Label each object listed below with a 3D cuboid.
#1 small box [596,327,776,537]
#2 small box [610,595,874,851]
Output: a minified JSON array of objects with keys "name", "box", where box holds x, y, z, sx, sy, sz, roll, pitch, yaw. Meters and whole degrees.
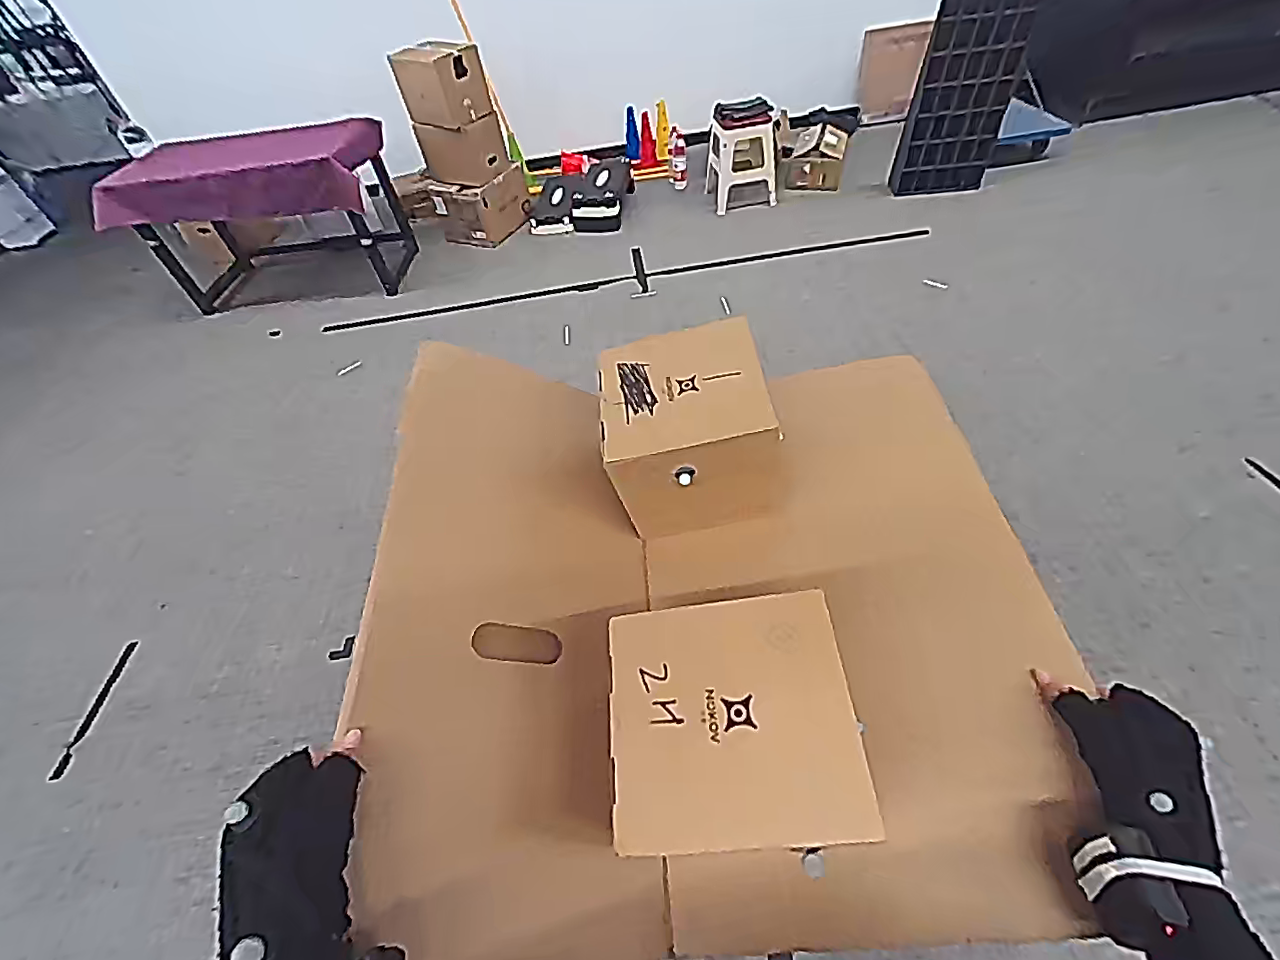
[{"name":"small box","box":[0.057,-0.048,0.646,0.179,0.176,0.168,-12,55,8]},{"name":"small box","box":[0.080,0.214,0.464,0.179,0.176,0.168,-10,55,10]}]
